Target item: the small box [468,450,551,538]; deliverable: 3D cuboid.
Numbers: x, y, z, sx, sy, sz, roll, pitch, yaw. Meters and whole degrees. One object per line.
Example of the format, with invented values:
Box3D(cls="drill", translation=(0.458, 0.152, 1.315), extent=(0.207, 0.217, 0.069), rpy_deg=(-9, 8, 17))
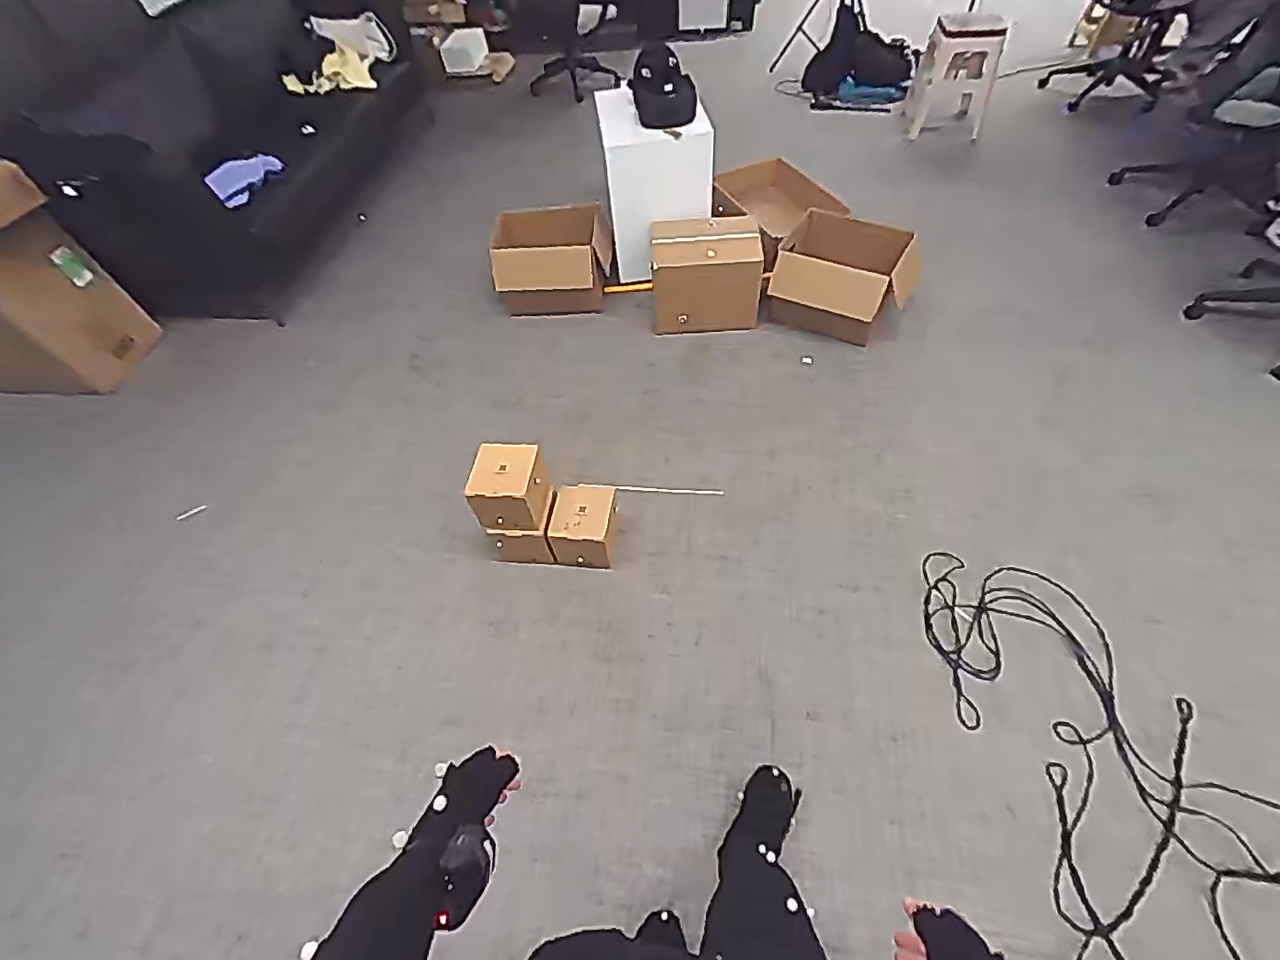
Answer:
Box3D(cls="small box", translation=(-0.352, 0.039, 1.500), extent=(0.168, 0.176, 0.179), rpy_deg=(2, 53, 7))
